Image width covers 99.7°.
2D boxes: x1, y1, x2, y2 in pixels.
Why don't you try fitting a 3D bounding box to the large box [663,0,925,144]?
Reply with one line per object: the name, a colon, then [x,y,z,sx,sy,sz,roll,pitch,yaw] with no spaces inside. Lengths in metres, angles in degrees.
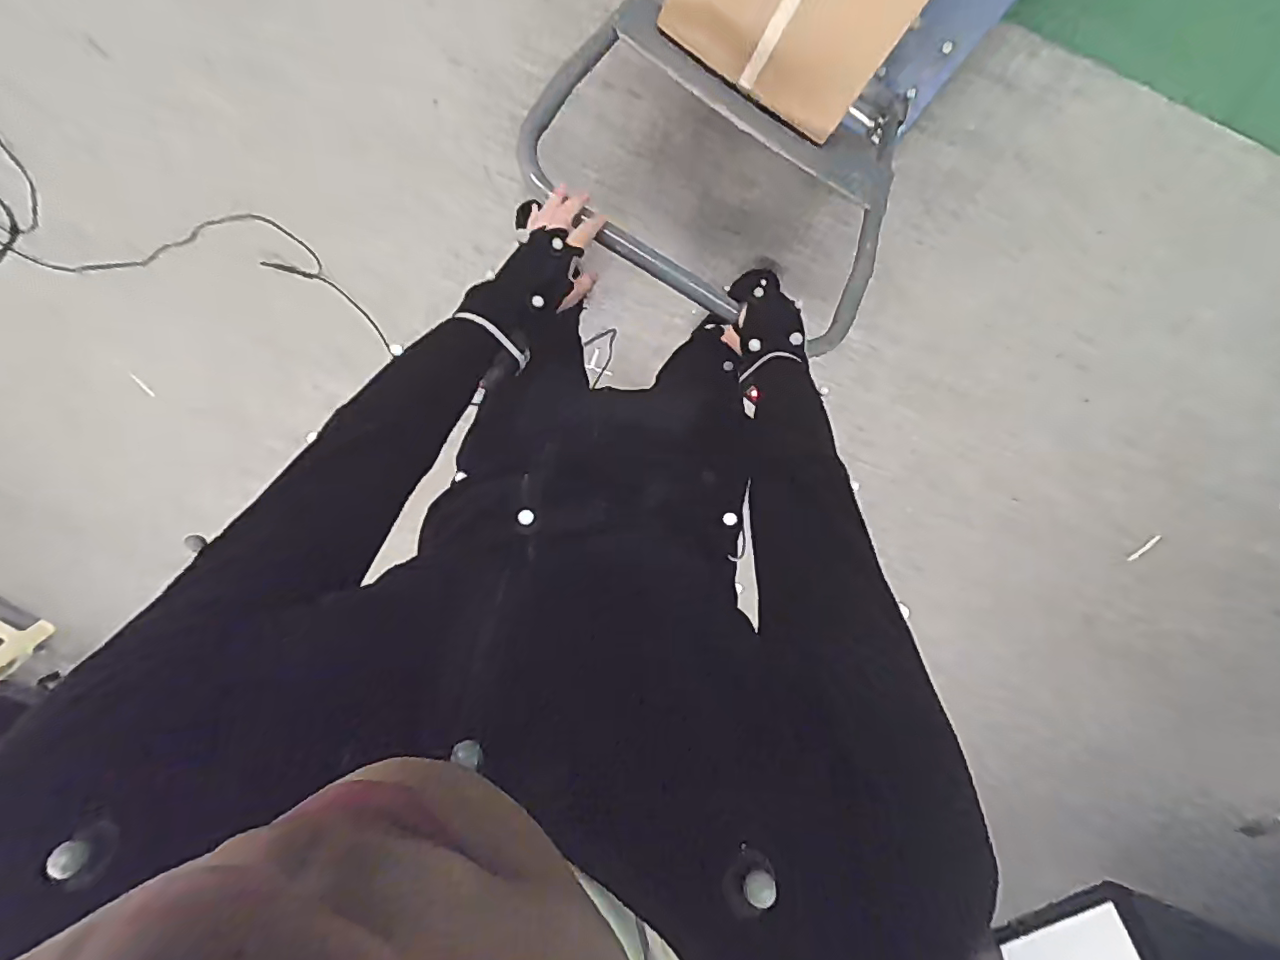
large box: [0.287,-0.810,0.776,0.320,0.320,0.408,29,144,-11]
